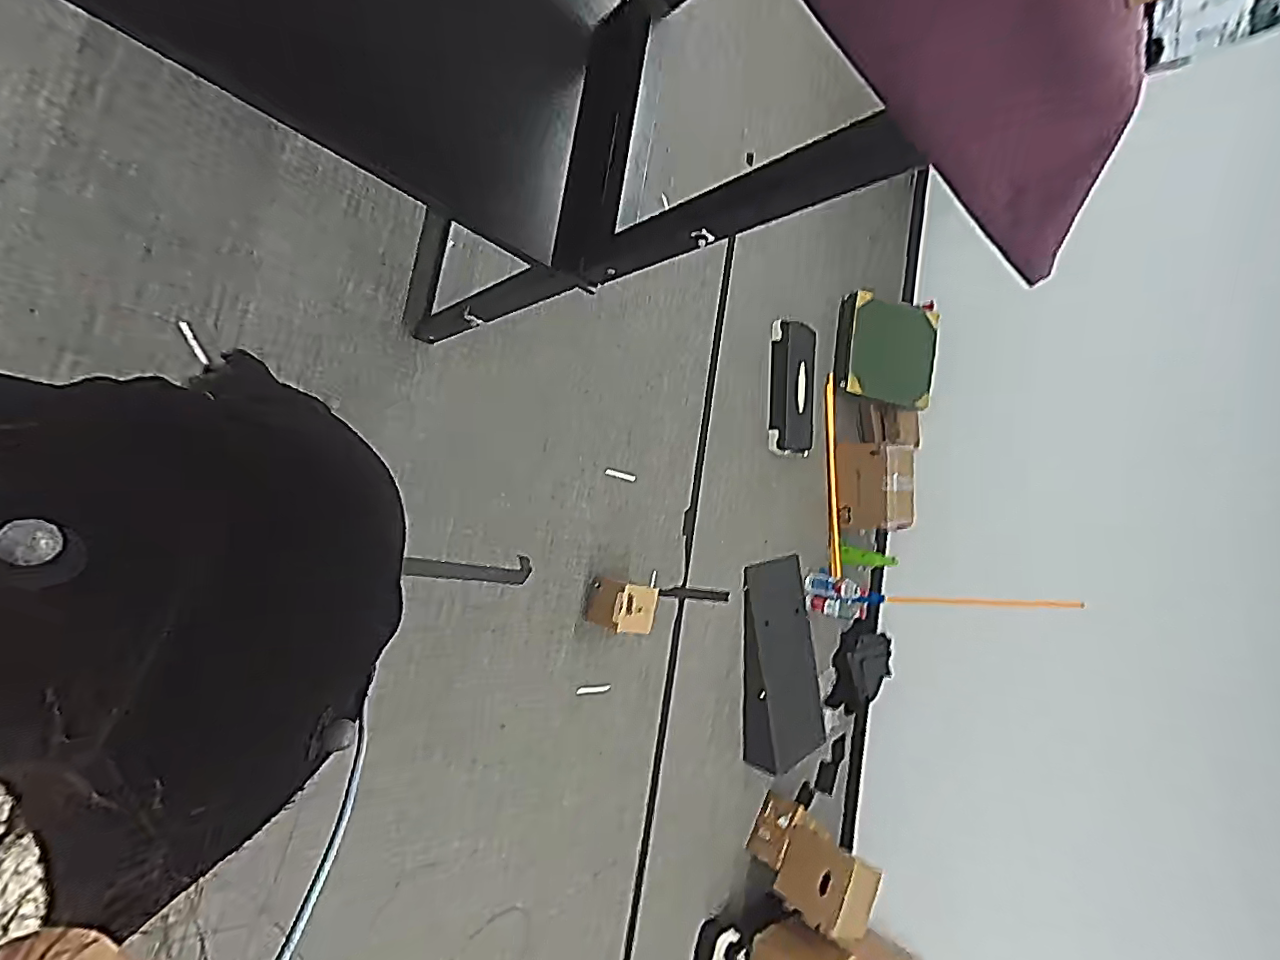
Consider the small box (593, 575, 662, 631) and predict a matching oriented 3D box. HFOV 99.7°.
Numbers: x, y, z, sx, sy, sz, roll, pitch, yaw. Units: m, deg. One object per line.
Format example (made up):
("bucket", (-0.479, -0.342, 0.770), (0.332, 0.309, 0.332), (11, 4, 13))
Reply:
("small box", (-0.049, 0.443, 1.962), (0.179, 0.176, 0.168), (18, 80, -43))
